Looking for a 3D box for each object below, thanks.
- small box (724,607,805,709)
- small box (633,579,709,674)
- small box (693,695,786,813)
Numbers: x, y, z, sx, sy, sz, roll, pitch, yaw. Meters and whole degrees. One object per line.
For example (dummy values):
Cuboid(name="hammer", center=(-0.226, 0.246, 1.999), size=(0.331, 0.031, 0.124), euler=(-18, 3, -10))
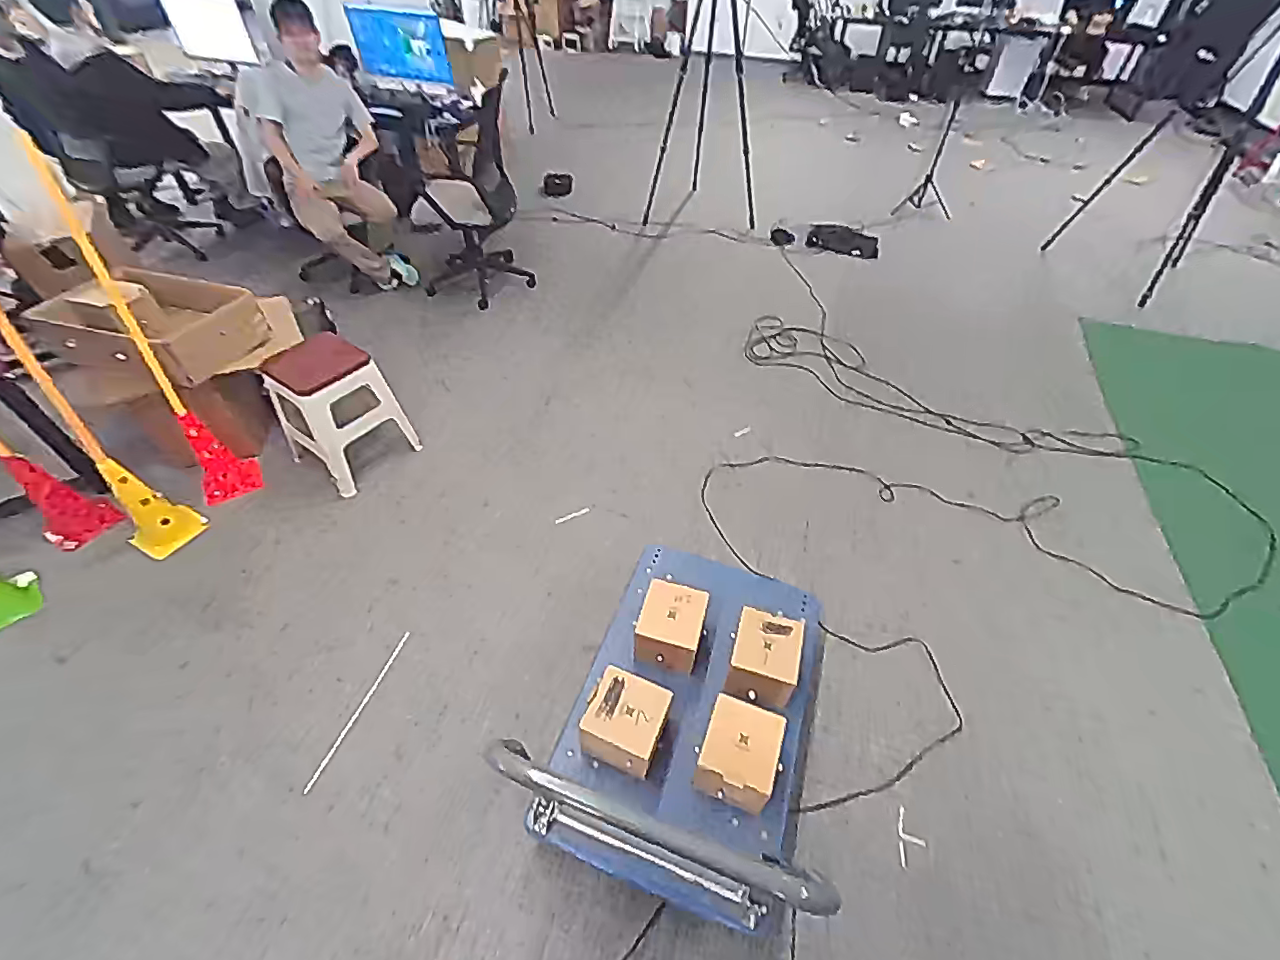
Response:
Cuboid(name="small box", center=(0.326, 0.474, 1.434), size=(0.168, 0.176, 0.179), euler=(15, 50, 12))
Cuboid(name="small box", center=(0.085, 0.406, 1.486), size=(0.168, 0.176, 0.179), euler=(14, 49, 10))
Cuboid(name="small box", center=(0.229, 0.647, 1.275), size=(0.168, 0.176, 0.179), euler=(18, 50, 14))
